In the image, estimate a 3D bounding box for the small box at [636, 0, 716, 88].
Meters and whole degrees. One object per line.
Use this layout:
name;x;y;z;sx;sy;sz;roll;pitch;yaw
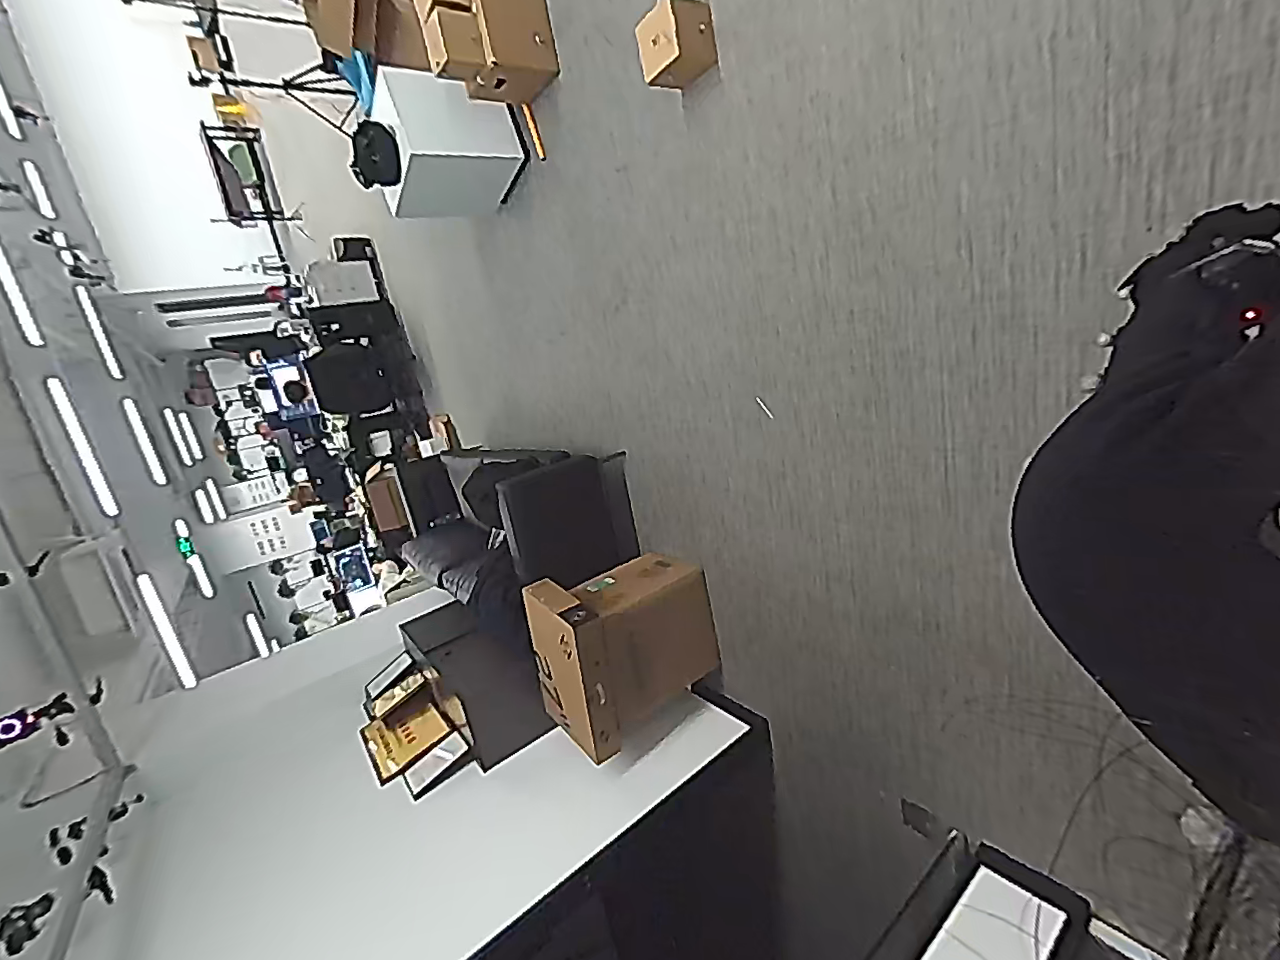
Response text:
small box;0.115;-1.375;1.712;0.179;0.176;0.168;5;112;54
